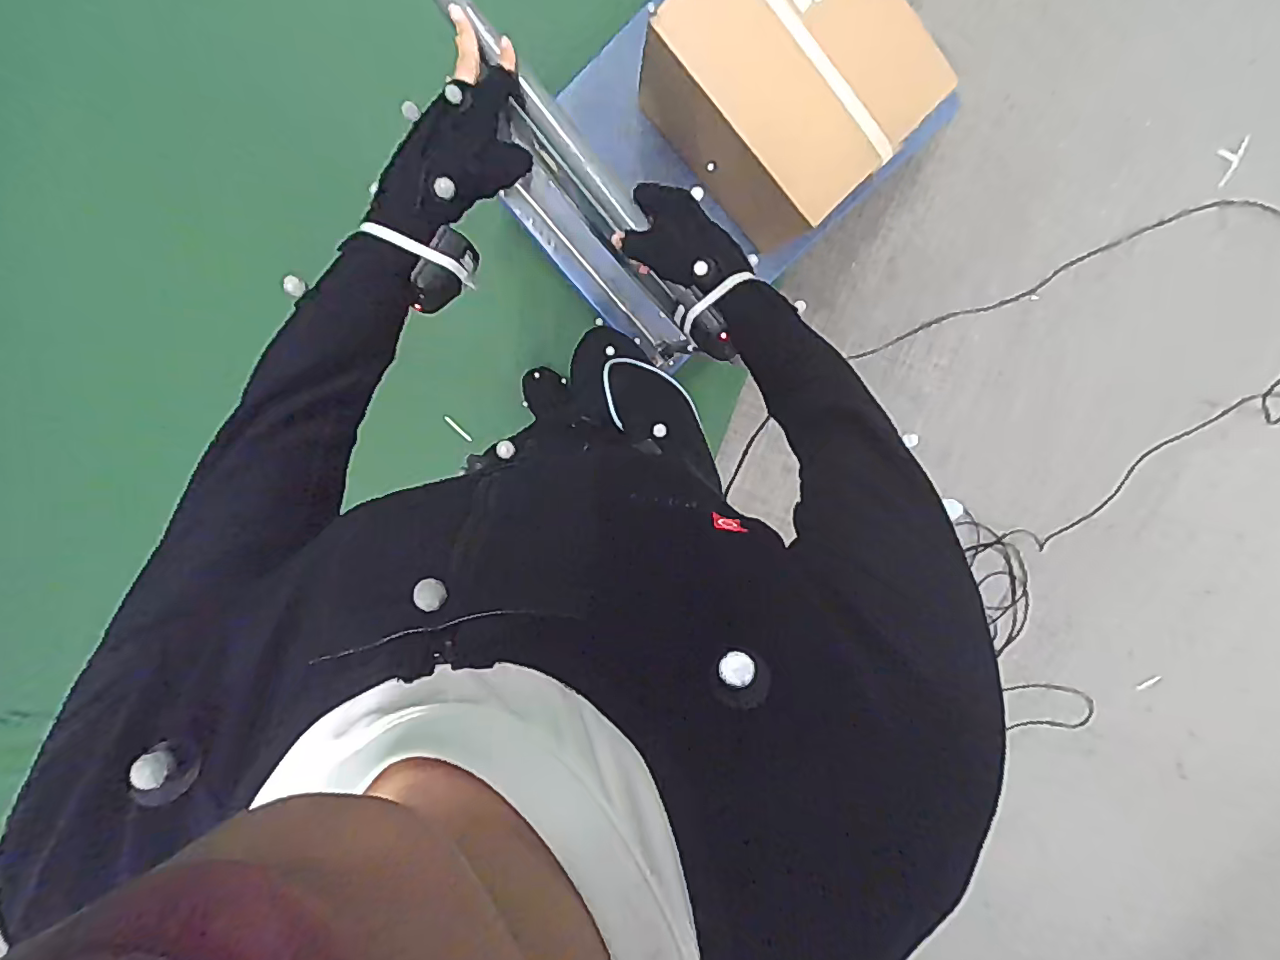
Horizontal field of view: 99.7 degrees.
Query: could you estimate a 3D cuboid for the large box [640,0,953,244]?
[{"bbox_3d":[0.249,-0.712,0.984,0.320,0.320,0.408,-44,103,7],"label":"large box"}]
